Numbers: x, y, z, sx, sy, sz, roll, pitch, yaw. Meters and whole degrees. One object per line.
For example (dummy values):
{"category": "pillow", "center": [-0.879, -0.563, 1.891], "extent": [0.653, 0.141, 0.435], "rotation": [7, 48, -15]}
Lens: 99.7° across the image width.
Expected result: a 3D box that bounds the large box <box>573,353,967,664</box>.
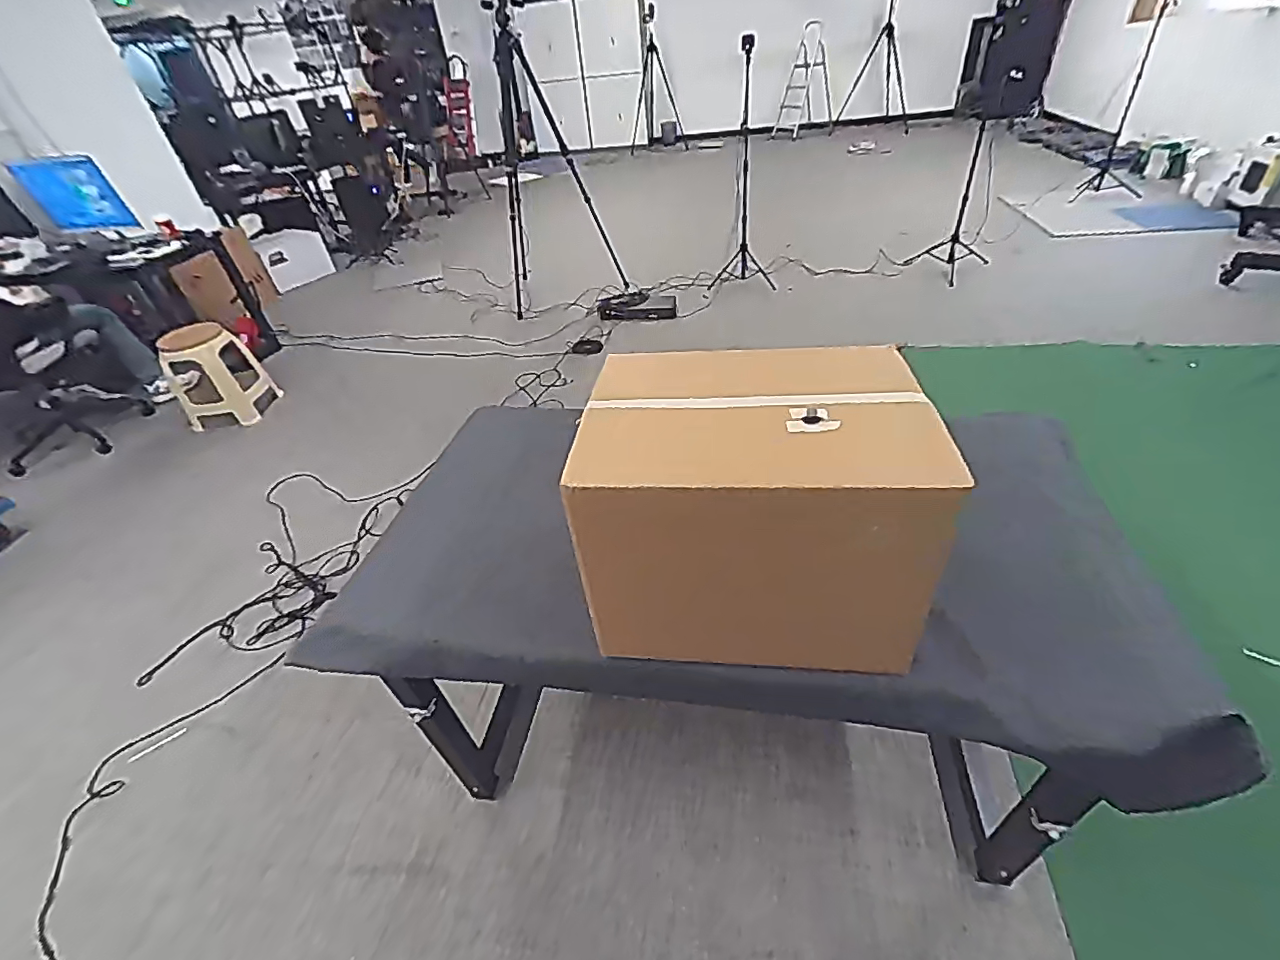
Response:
{"category": "large box", "center": [0.148, 0.033, 0.753], "extent": [0.408, 0.320, 0.320], "rotation": [1, 39, 8]}
